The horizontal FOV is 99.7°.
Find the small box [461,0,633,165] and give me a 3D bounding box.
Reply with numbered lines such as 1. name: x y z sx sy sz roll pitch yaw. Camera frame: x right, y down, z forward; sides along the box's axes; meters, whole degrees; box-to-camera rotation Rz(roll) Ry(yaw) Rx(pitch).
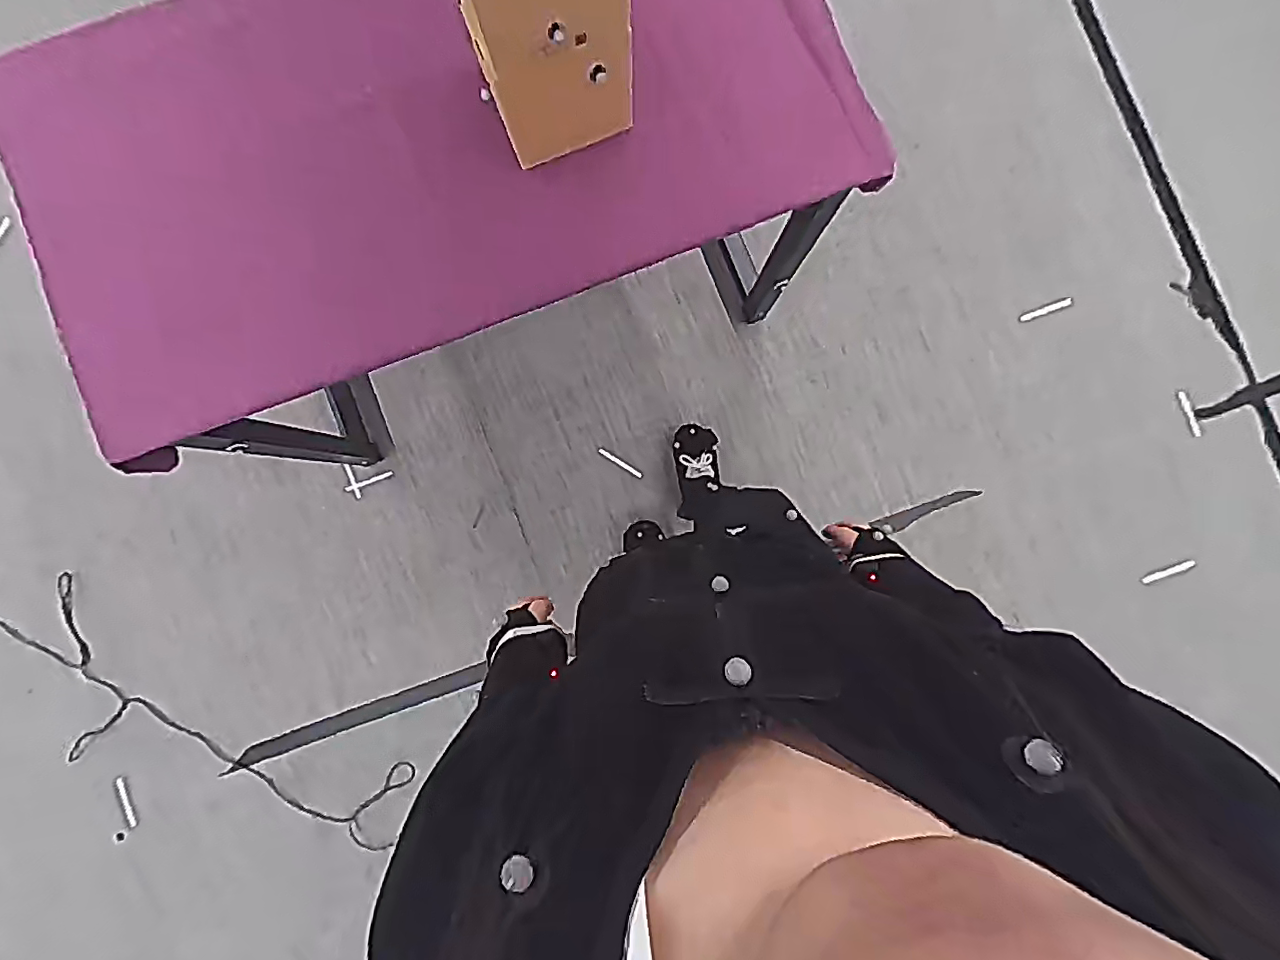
1. small box: -0.117 -0.562 0.710 0.179 0.176 0.168 -22 87 0
